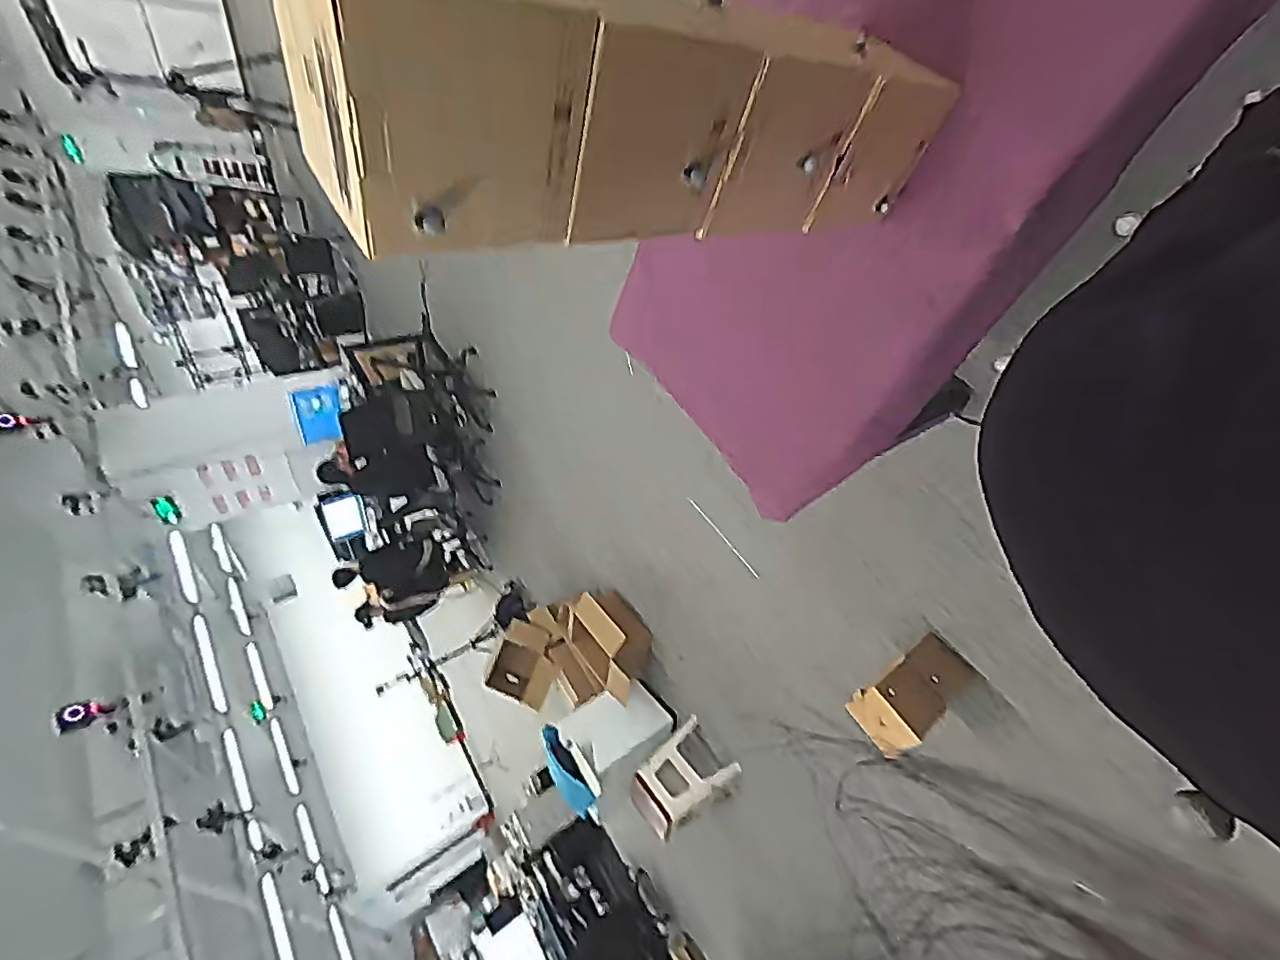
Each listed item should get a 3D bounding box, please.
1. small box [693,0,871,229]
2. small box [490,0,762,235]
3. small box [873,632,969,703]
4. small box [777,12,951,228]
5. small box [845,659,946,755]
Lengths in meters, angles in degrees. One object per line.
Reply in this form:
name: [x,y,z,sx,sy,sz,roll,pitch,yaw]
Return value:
small box: [0.108,-0.401,0.597,0.179,0.176,0.168,52,144,24]
small box: [-0.022,-0.355,0.510,0.179,0.176,0.168,52,144,24]
small box: [0.879,0.608,1.689,0.168,0.176,0.179,50,144,26]
small box: [0.242,-0.446,0.681,0.179,0.176,0.168,53,144,24]
small box: [0.757,0.668,1.597,0.179,0.176,0.168,51,143,26]
